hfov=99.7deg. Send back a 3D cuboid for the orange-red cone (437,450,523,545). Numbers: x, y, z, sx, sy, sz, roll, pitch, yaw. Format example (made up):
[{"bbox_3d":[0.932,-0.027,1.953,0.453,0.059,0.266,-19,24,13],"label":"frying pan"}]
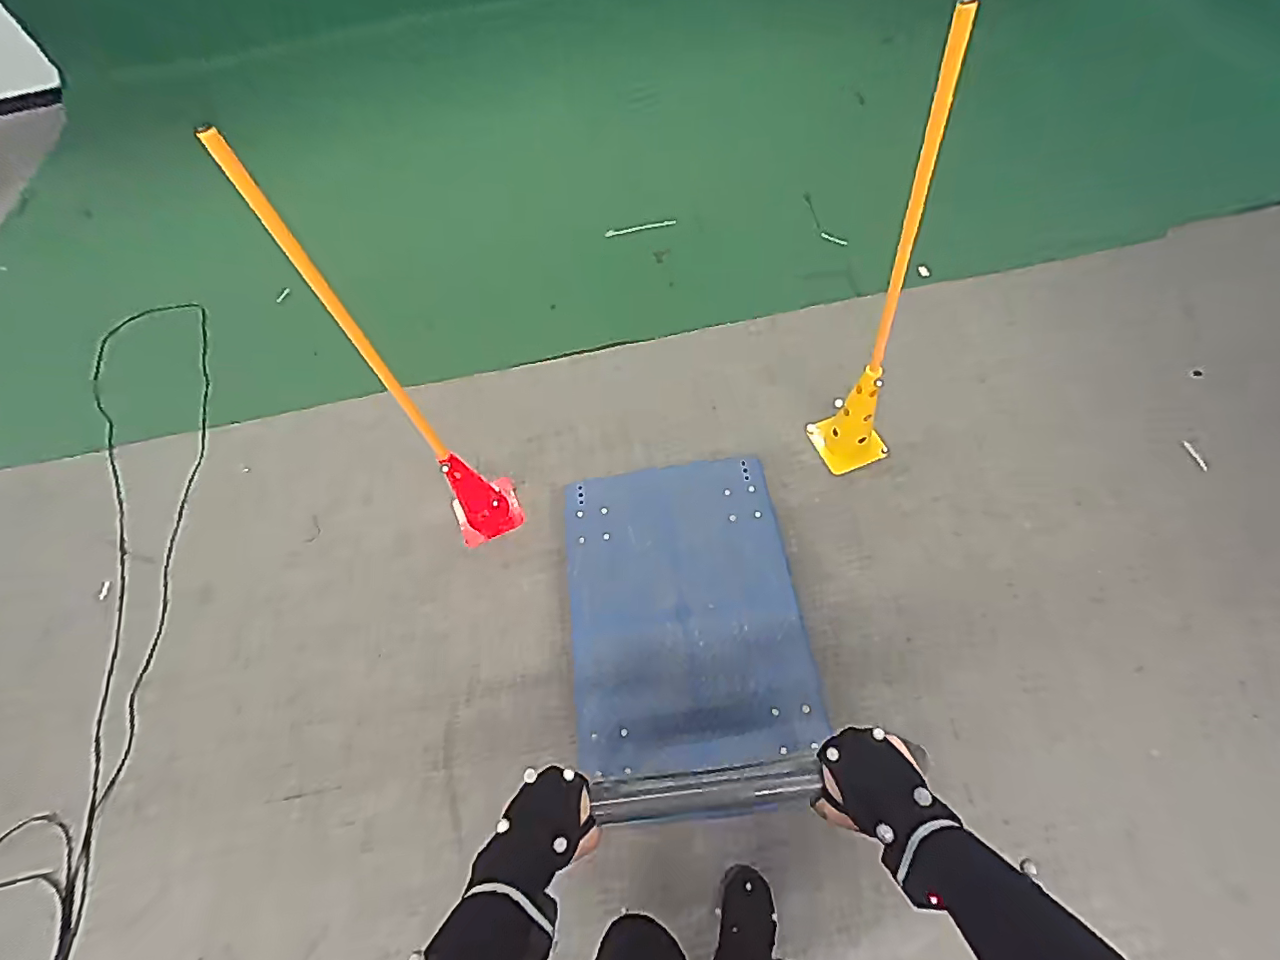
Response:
[{"bbox_3d":[-0.511,0.020,1.608,0.199,0.360,0.198,-24,61,-5],"label":"orange-red cone"}]
